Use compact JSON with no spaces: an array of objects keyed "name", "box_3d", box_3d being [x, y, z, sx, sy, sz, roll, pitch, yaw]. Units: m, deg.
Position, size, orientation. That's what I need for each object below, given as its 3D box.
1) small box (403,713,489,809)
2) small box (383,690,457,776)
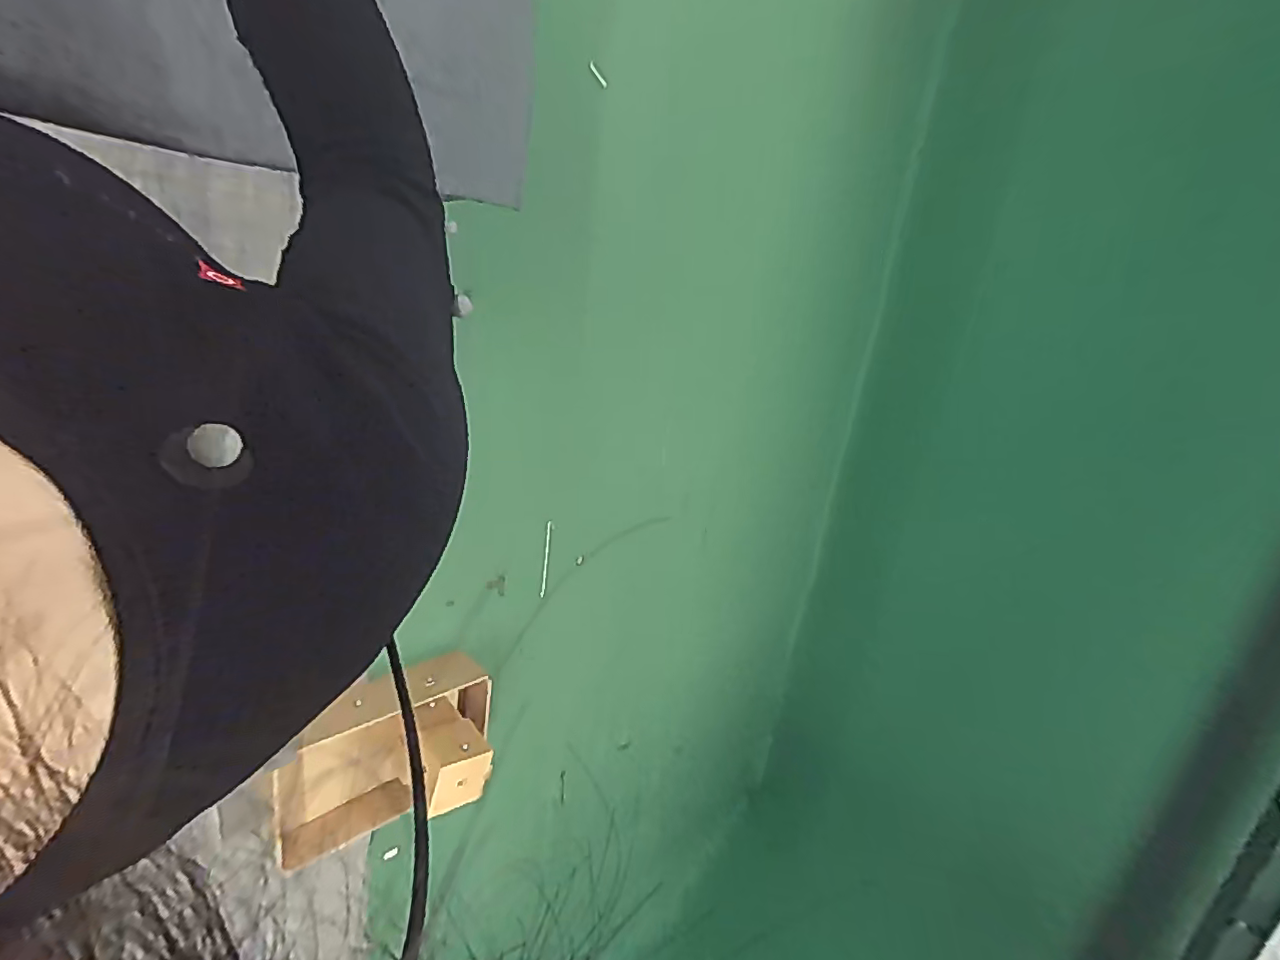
[{"name":"small box","box_3d":[-0.588,0.835,1.626,0.179,0.176,0.168,6,104,-48]},{"name":"small box","box_3d":[-0.702,0.806,1.739,0.168,0.176,0.179,14,97,-49]}]
